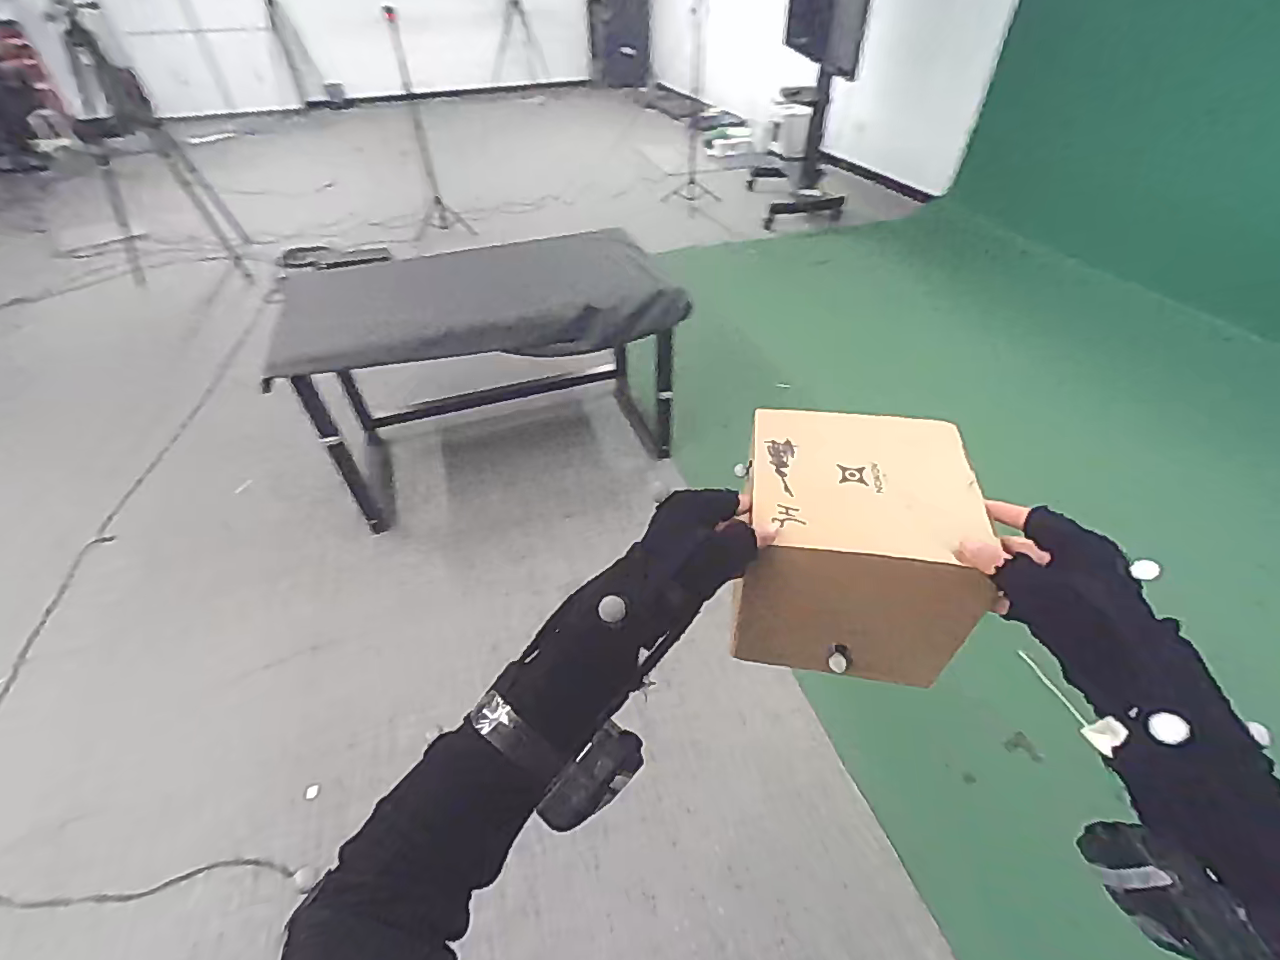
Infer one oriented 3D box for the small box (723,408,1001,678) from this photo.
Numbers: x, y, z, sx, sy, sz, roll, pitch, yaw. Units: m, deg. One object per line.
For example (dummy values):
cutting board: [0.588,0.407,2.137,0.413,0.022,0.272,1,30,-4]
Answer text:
small box: [0.176,0.057,0.490,0.179,0.176,0.168,6,42,7]
